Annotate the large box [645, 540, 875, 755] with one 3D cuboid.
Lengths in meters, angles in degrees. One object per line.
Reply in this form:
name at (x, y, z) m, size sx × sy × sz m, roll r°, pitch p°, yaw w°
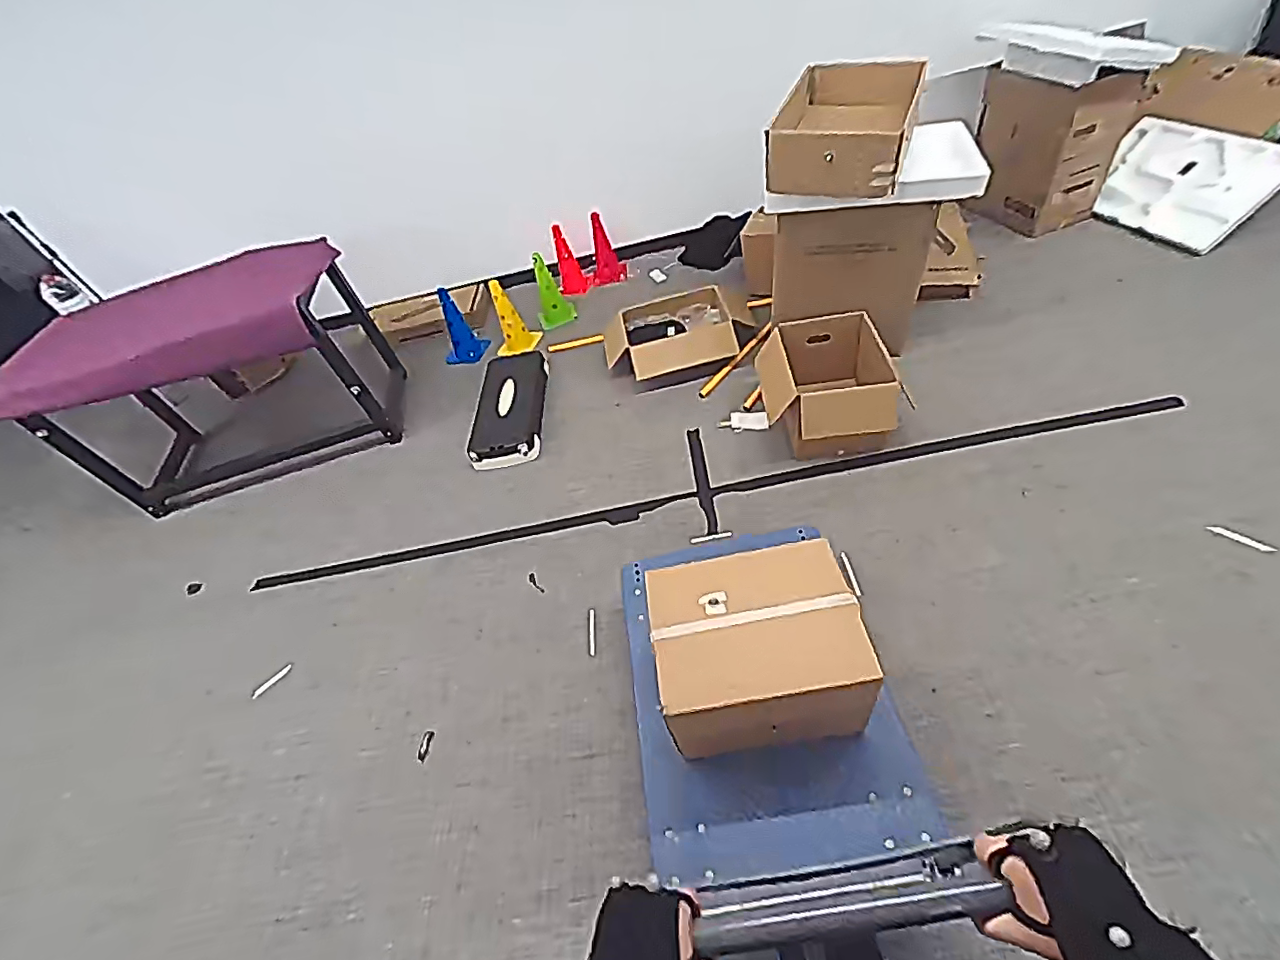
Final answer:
large box at (0.251, 0.379, 1.201) m, size 0.408 × 0.320 × 0.320 m, roll -12°, pitch 46°, yaw 5°
